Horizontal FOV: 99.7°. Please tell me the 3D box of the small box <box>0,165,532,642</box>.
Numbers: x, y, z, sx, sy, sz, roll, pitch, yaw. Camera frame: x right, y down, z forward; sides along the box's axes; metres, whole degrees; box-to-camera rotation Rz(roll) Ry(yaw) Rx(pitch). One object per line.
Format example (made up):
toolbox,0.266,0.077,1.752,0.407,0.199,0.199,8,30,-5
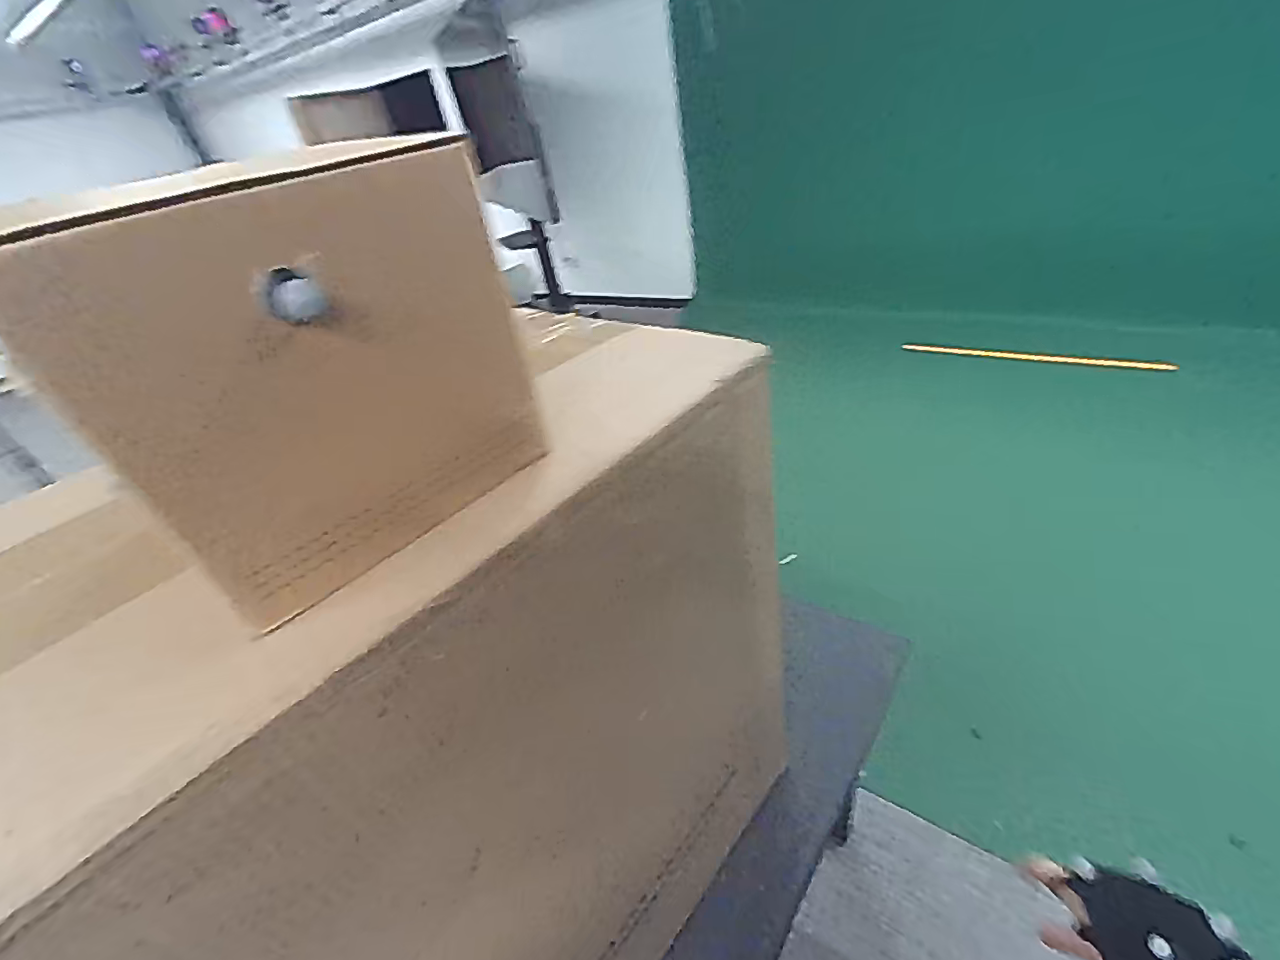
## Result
small box,-0.177,-0.055,0.287,0.168,0.176,0.179,24,49,37
